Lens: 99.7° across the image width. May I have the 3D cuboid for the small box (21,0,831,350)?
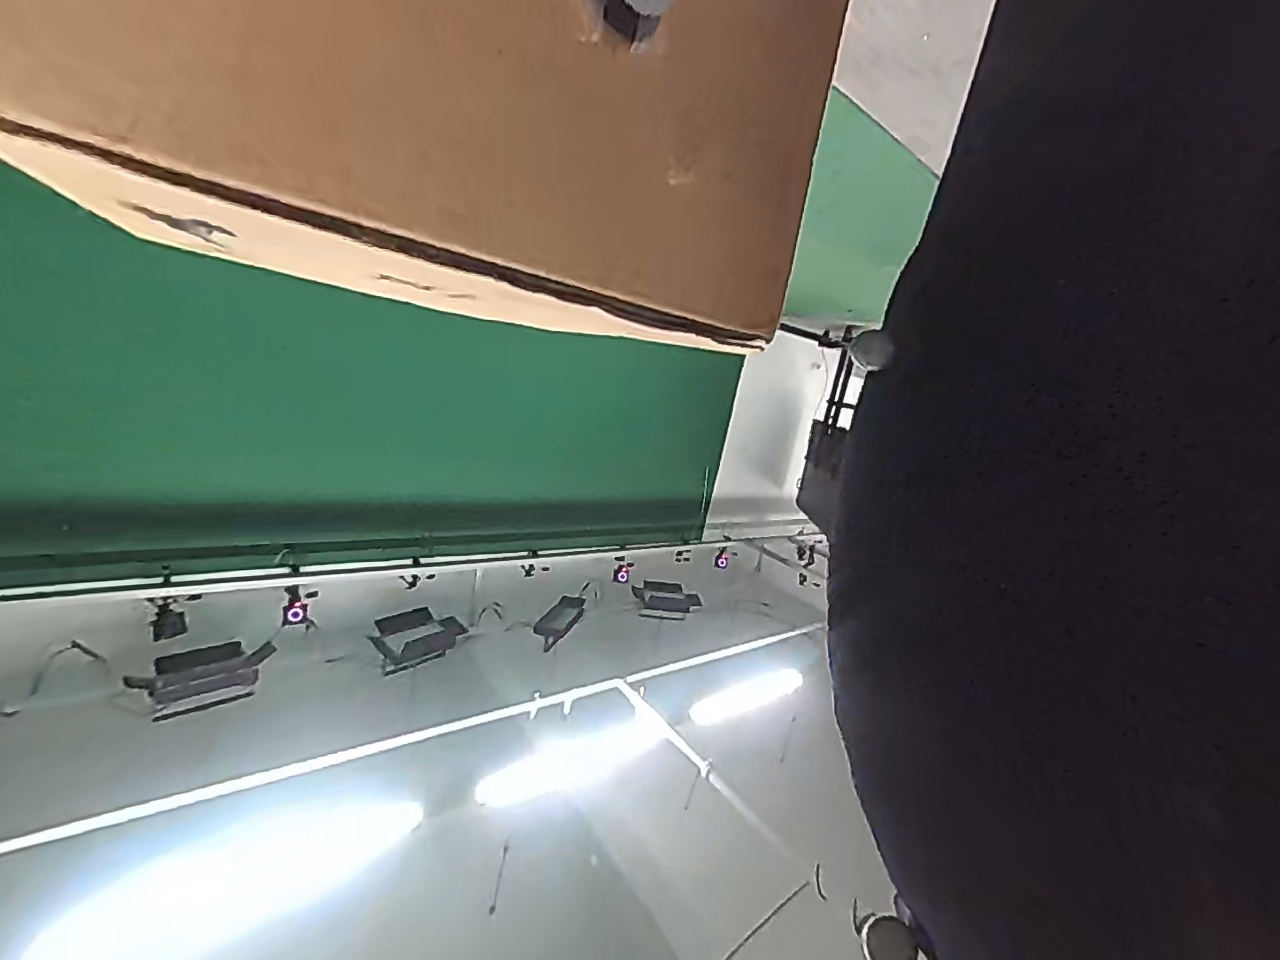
[{"bbox_3d":[-0.054,-0.147,0.174,0.179,0.176,0.168,2,-166,-36],"label":"small box"}]
